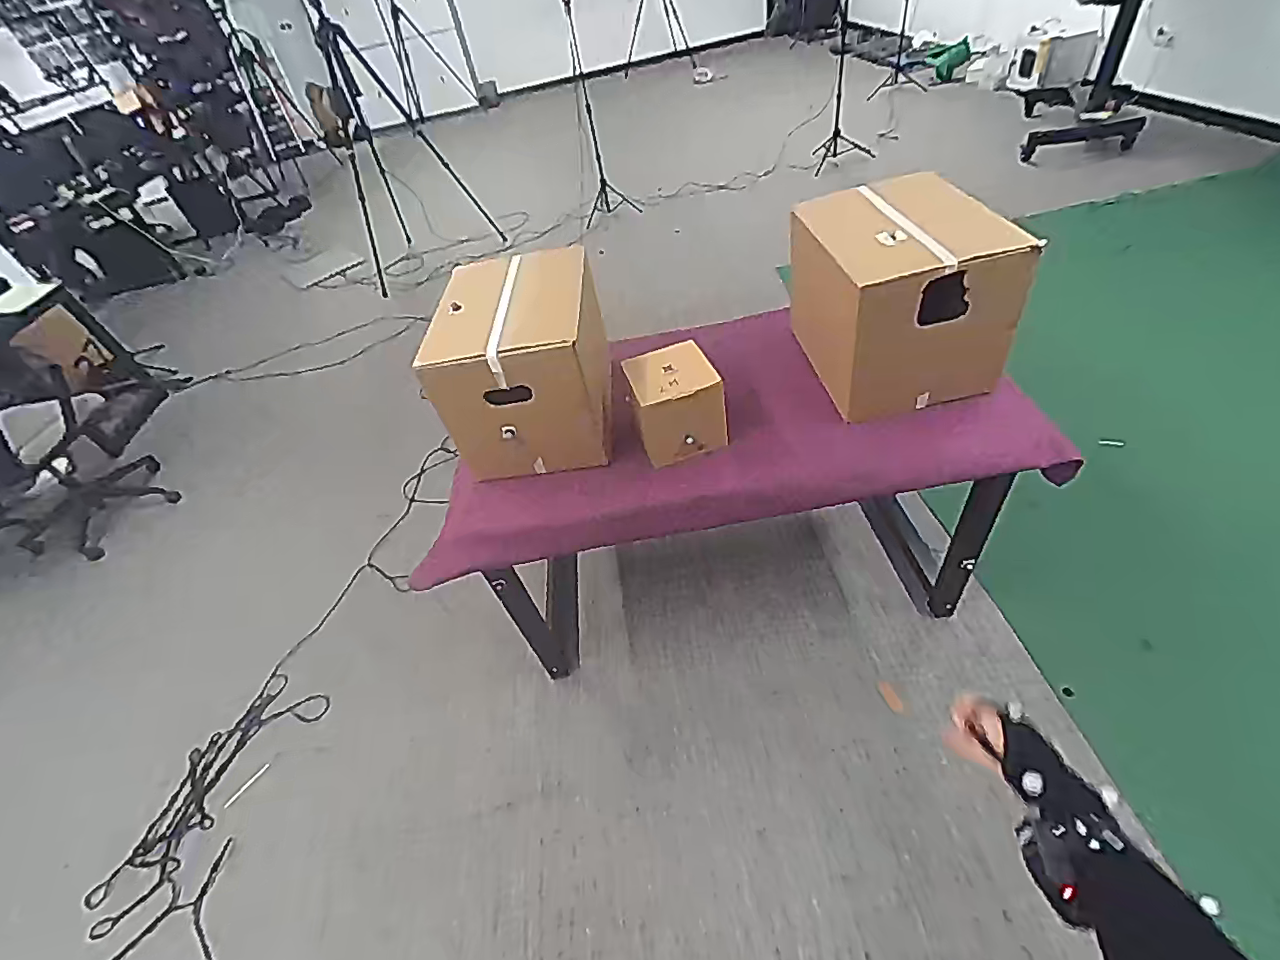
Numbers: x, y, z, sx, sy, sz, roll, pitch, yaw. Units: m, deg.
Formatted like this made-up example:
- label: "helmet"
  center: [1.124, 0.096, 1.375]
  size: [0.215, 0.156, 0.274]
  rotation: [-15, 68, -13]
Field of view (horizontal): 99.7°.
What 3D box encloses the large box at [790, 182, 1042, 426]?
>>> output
- label: "large box"
  center: [0.533, -0.381, 1.157]
  size: [0.320, 0.320, 0.408]
  rotation: [-13, 45, 4]
